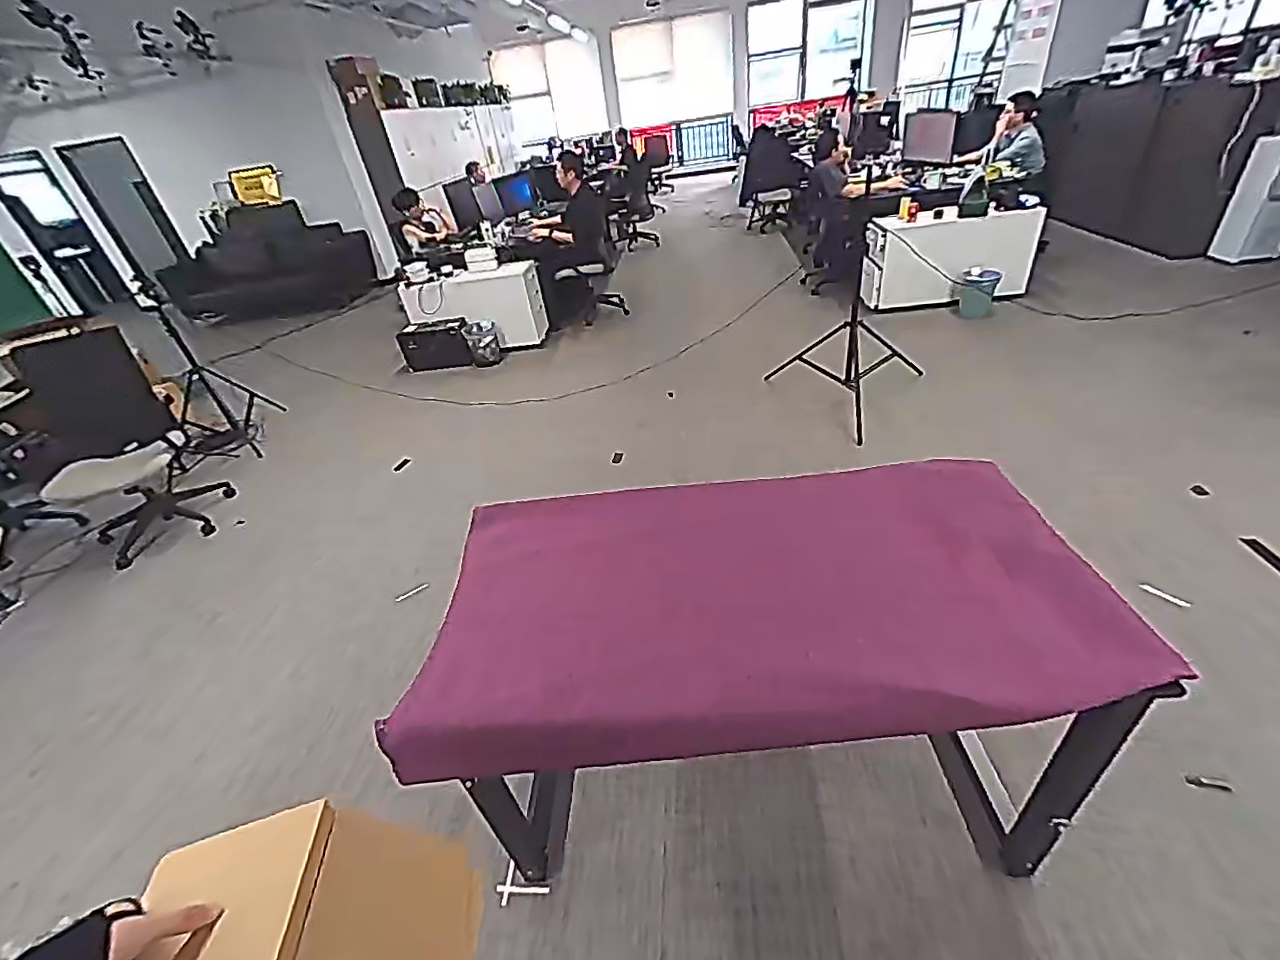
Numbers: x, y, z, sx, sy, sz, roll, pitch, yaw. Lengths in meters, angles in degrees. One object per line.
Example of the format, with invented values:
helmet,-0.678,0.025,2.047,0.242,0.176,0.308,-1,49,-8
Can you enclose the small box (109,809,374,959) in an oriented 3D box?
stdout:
small box,-0.396,0.487,0.554,0.179,0.176,0.168,-10,24,-10
